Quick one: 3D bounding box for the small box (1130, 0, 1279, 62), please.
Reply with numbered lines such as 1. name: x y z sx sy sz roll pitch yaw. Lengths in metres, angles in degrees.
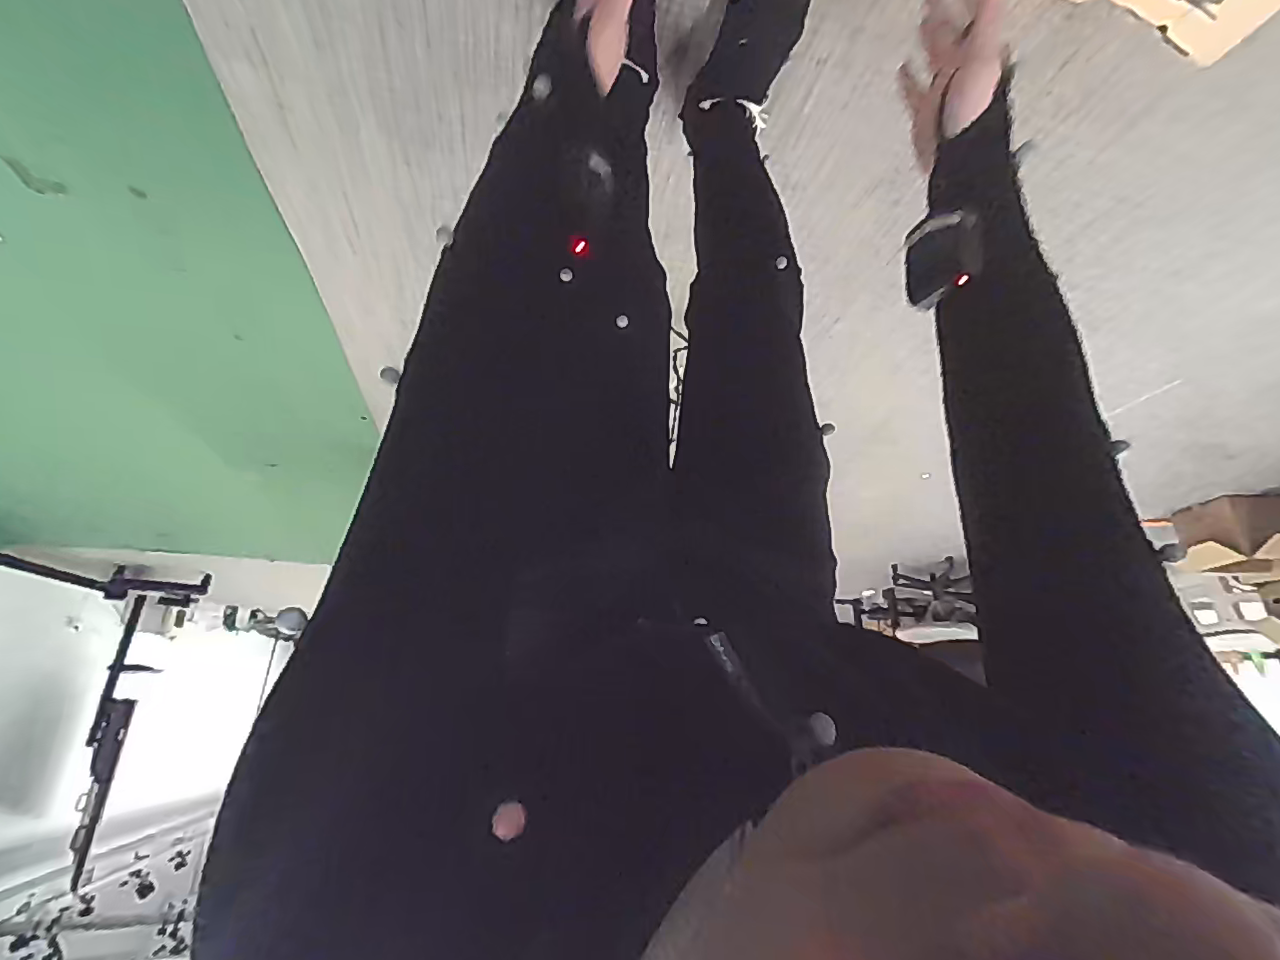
1. small box: 0.538 -0.539 0.476 0.168 0.176 0.179 10 155 -20
